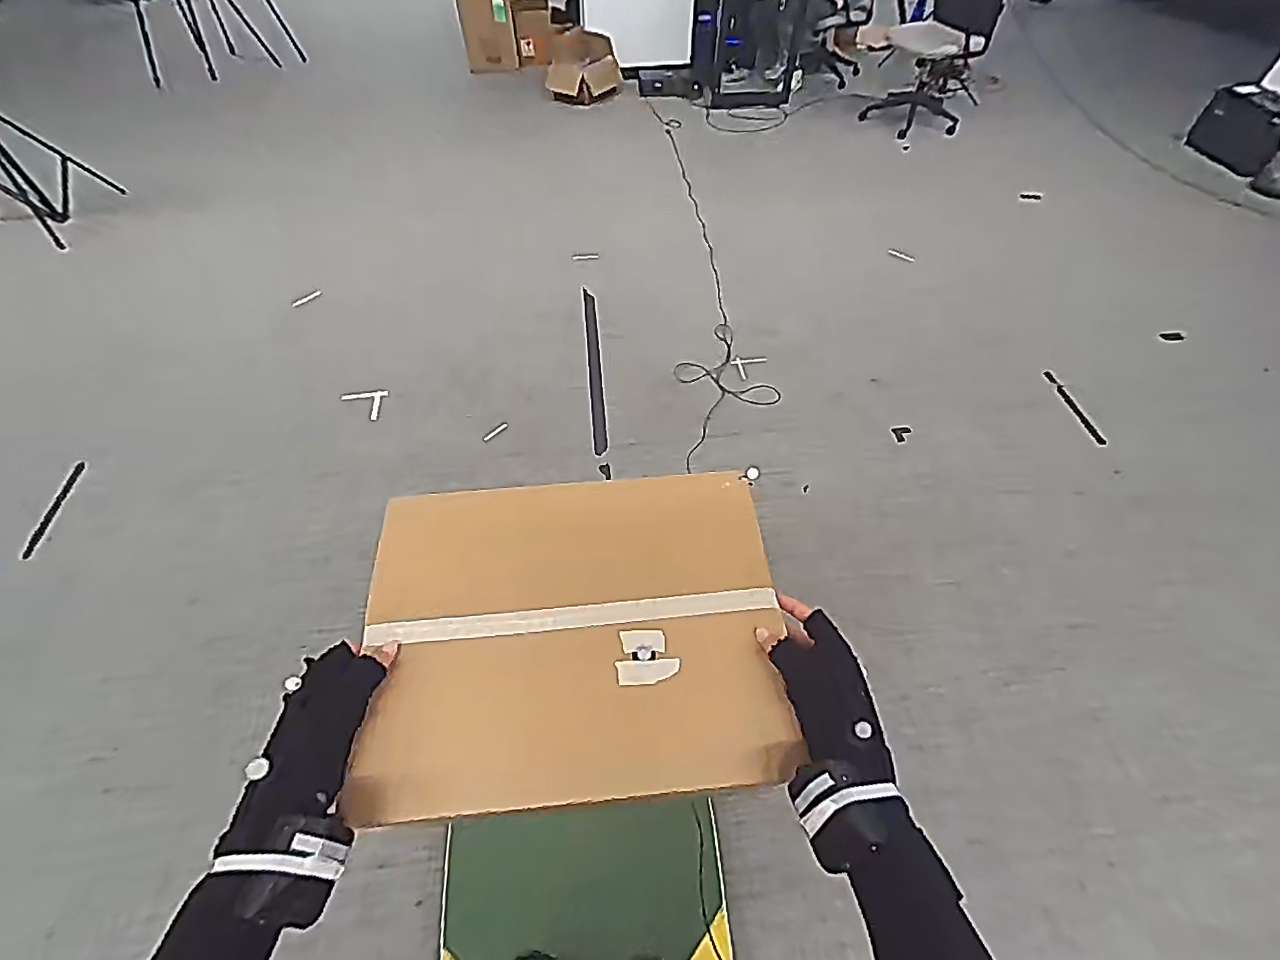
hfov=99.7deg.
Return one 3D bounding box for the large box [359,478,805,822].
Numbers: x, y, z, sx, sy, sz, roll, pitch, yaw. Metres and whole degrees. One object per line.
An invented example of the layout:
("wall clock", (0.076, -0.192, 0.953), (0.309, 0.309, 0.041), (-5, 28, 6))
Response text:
("large box", (-0.064, 0.222, 0.677), (0.408, 0.320, 0.320), (-4, 58, -4))
